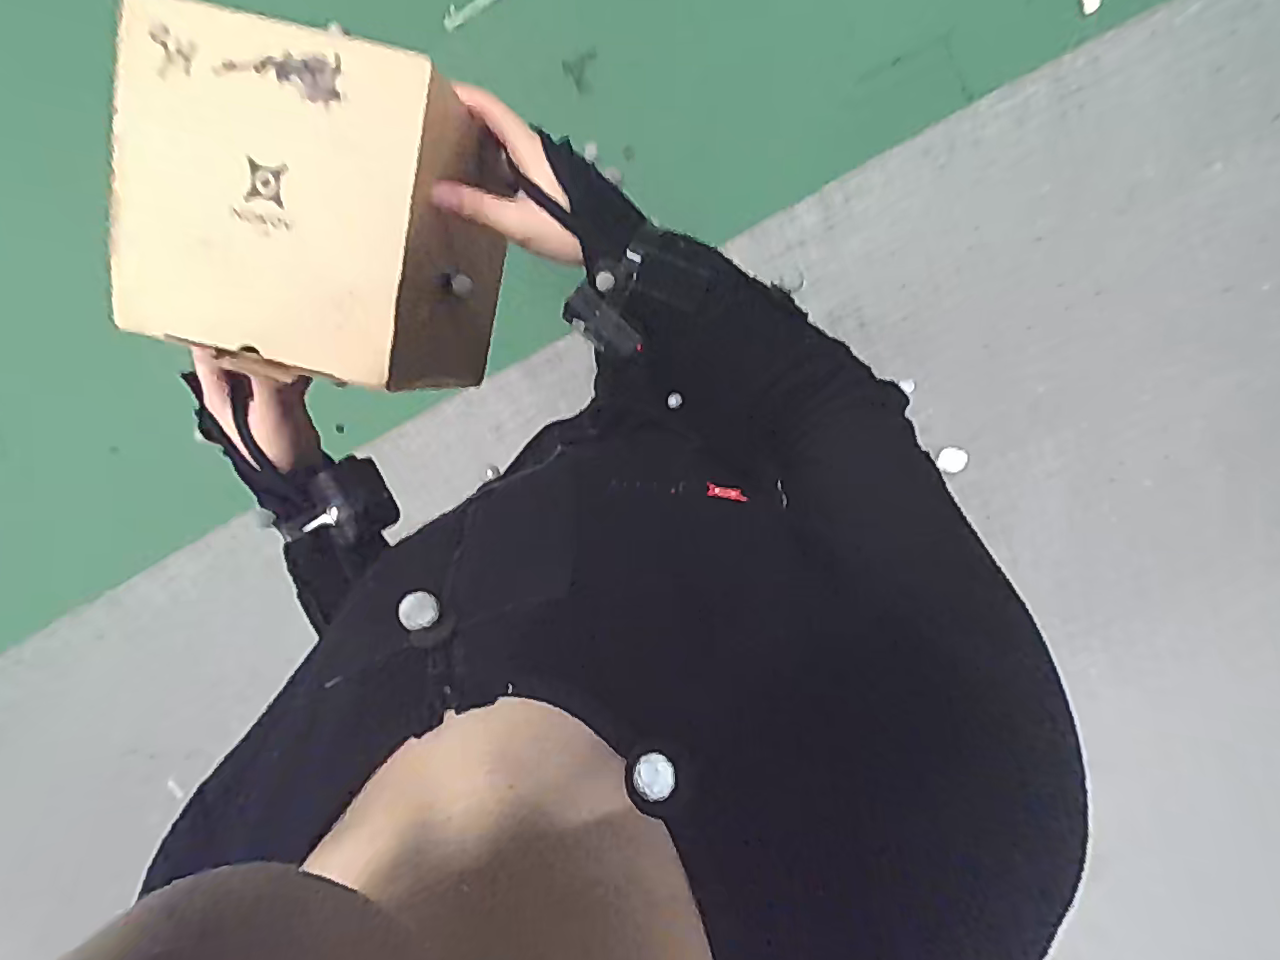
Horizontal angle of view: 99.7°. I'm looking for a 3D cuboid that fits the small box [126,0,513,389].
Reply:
[{"bbox_3d":[-0.200,-0.171,0.380,0.168,0.176,0.179,13,102,0],"label":"small box"}]
